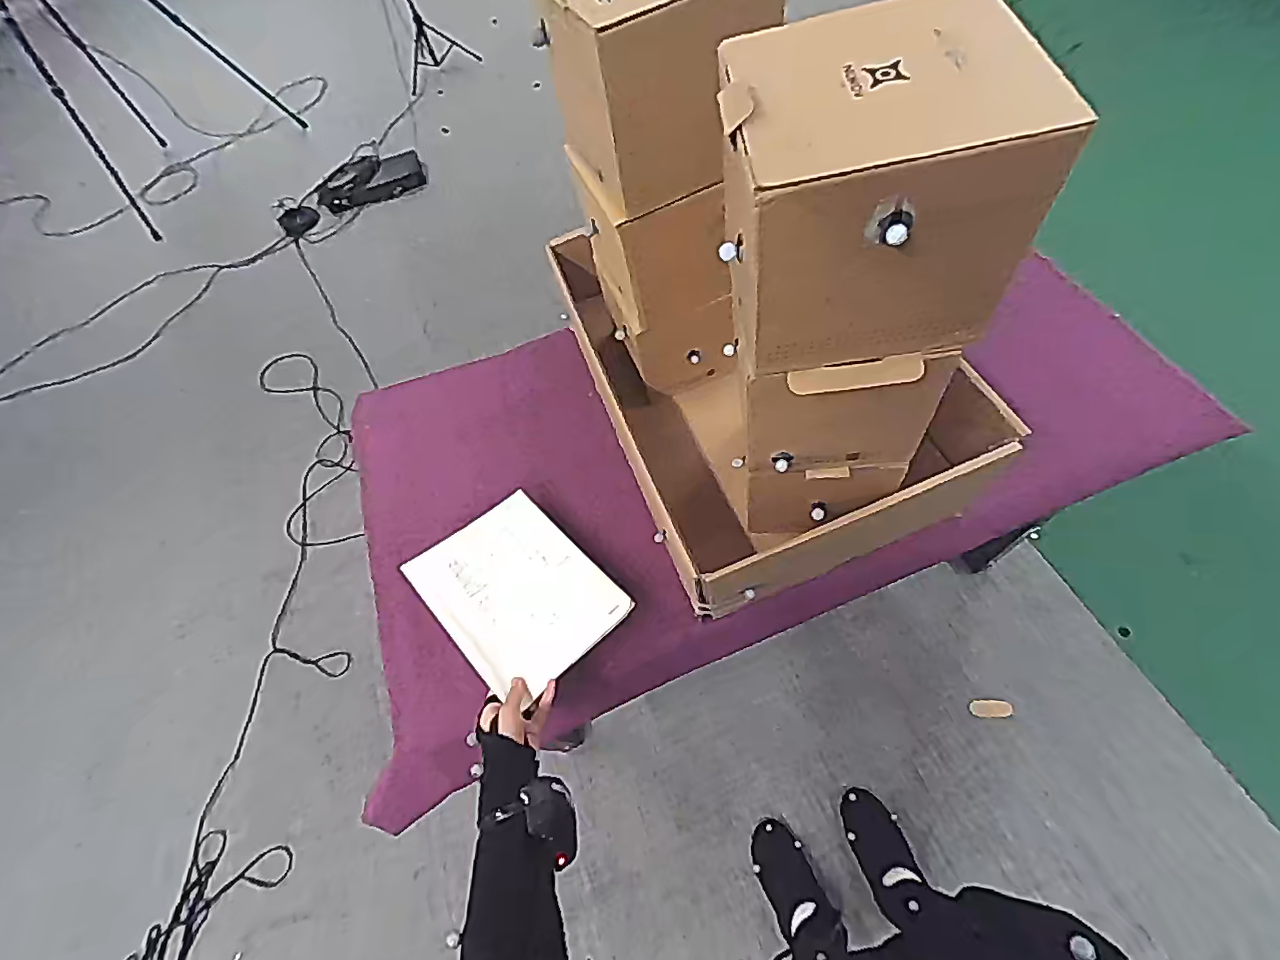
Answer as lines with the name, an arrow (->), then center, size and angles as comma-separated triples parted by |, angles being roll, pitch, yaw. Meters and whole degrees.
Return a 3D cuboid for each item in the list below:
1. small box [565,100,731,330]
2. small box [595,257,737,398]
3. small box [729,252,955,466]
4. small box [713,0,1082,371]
small box -> 0.032, -0.320, 0.675 | 0.179, 0.176, 0.168 | -25, 62, -3
small box -> 0.051, -0.248, 0.819 | 0.168, 0.176, 0.179 | -22, 62, -2
small box -> 0.180, -0.124, 0.536 | 0.168, 0.176, 0.179 | -5, 60, 10
small box -> 0.154, -0.199, 0.393 | 0.179, 0.176, 0.168 | -7, 61, 8
